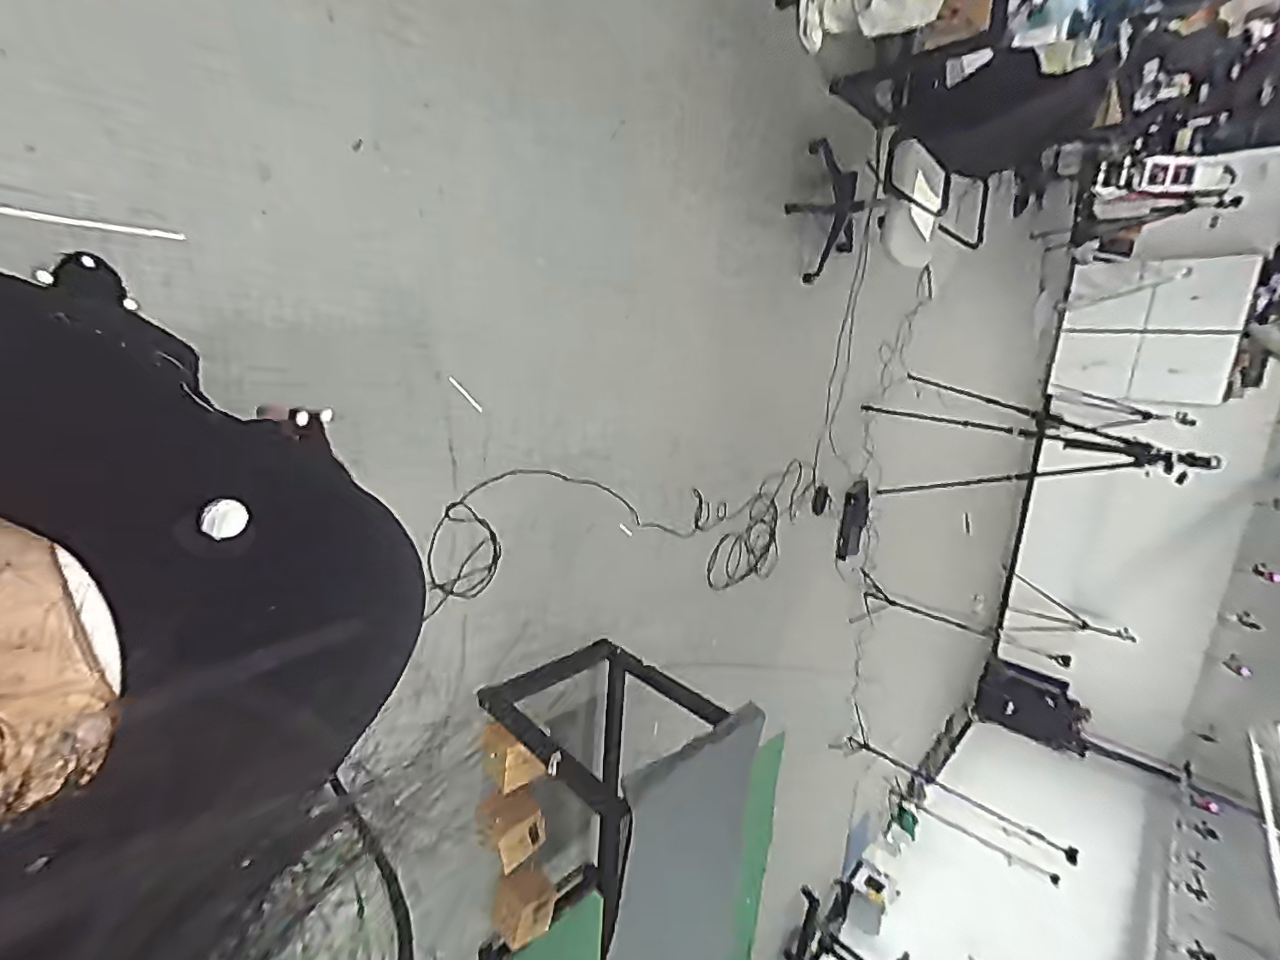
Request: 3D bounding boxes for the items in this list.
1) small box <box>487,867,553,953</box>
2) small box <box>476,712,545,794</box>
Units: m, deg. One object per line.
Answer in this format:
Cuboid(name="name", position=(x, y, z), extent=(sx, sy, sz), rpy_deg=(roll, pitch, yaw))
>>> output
Cuboid(name="small box", position=(-0.464, 1.632, 2.071), extent=(0.168, 0.176, 0.179), rpy_deg=(10, 95, -47))
Cuboid(name="small box", position=(-0.458, 0.947, 1.896), extent=(0.179, 0.176, 0.168), rpy_deg=(-3, 102, -46))
